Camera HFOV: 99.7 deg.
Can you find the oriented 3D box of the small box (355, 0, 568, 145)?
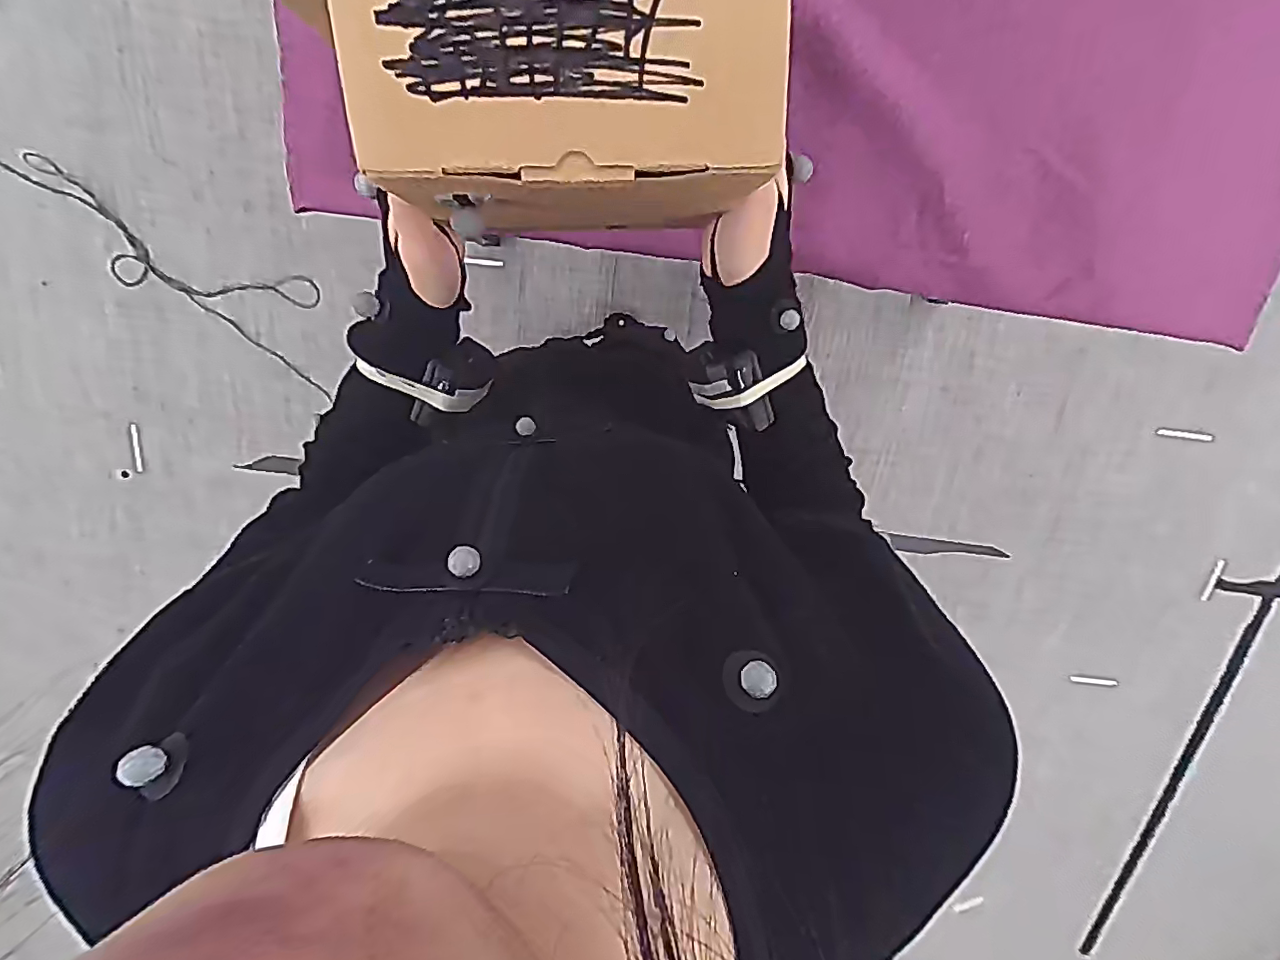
[{"bbox_3d":[-0.164,-0.460,0.531,0.168,0.176,0.179,4,107,-1],"label":"small box"}]

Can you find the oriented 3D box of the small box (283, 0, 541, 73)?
[{"bbox_3d":[-0.164,-0.415,0.375,0.179,0.176,0.168,3,105,0],"label":"small box"}]
